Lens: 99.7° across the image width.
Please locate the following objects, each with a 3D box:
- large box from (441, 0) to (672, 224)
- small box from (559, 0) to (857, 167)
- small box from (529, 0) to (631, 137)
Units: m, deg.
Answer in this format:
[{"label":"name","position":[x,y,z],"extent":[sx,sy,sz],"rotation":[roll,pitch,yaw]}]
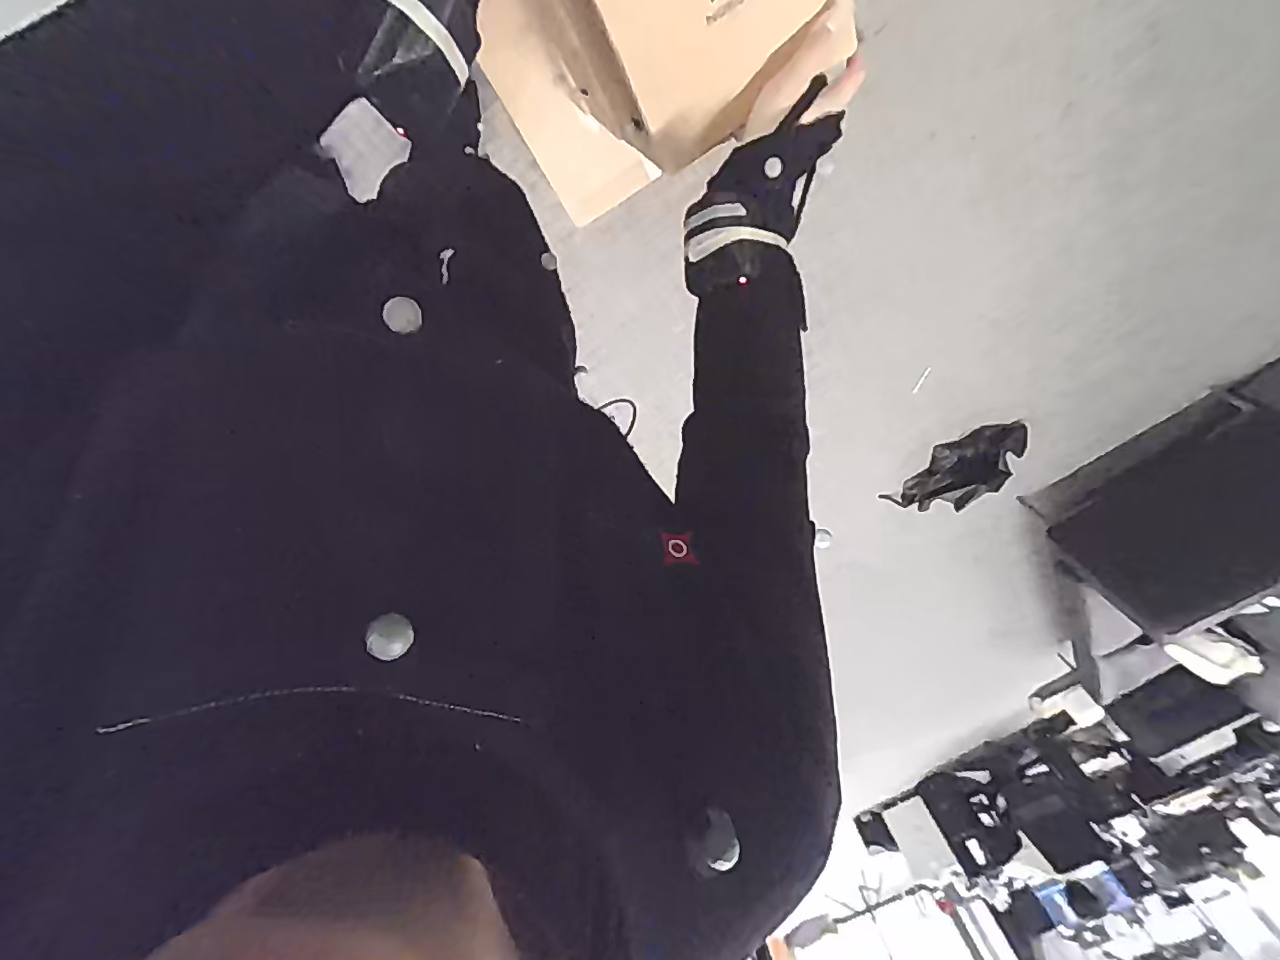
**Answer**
[{"label":"large box","position":[-0.096,-0.713,0.862],"extent":[0.320,0.320,0.408],"rotation":[-30,133,10]},{"label":"small box","position":[0.033,-0.383,0.413],"extent":[0.168,0.176,0.179],"rotation":[-30,133,9]},{"label":"small box","position":[-0.014,-0.485,0.532],"extent":[0.168,0.176,0.179],"rotation":[-33,131,11]}]
